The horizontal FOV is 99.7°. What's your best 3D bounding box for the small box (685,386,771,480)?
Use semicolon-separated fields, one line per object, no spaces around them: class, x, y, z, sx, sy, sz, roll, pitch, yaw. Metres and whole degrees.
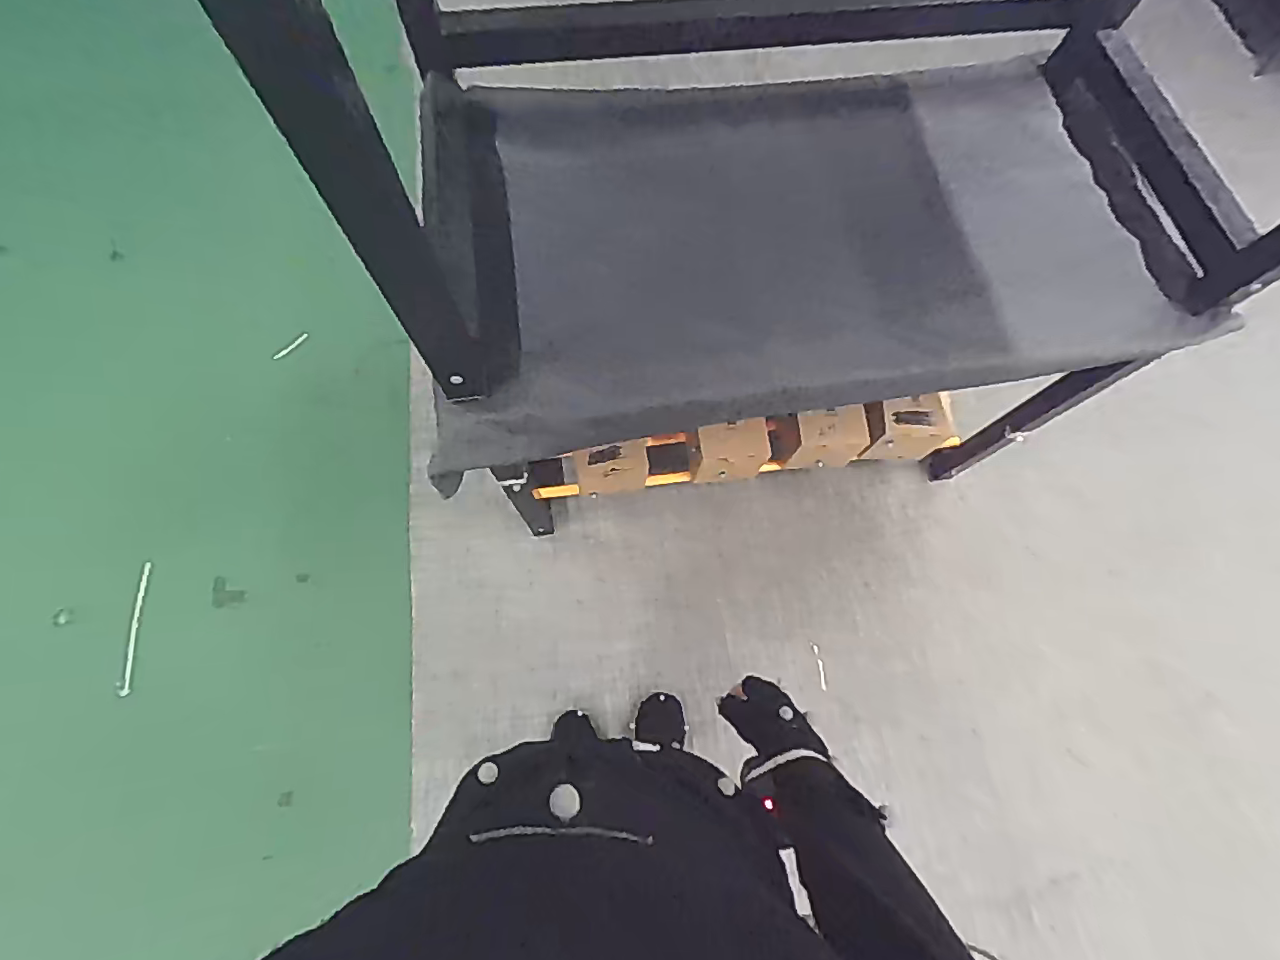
small box;0.209;-0.113;1.340;0.168;0.176;0.179;-6;73;-4
